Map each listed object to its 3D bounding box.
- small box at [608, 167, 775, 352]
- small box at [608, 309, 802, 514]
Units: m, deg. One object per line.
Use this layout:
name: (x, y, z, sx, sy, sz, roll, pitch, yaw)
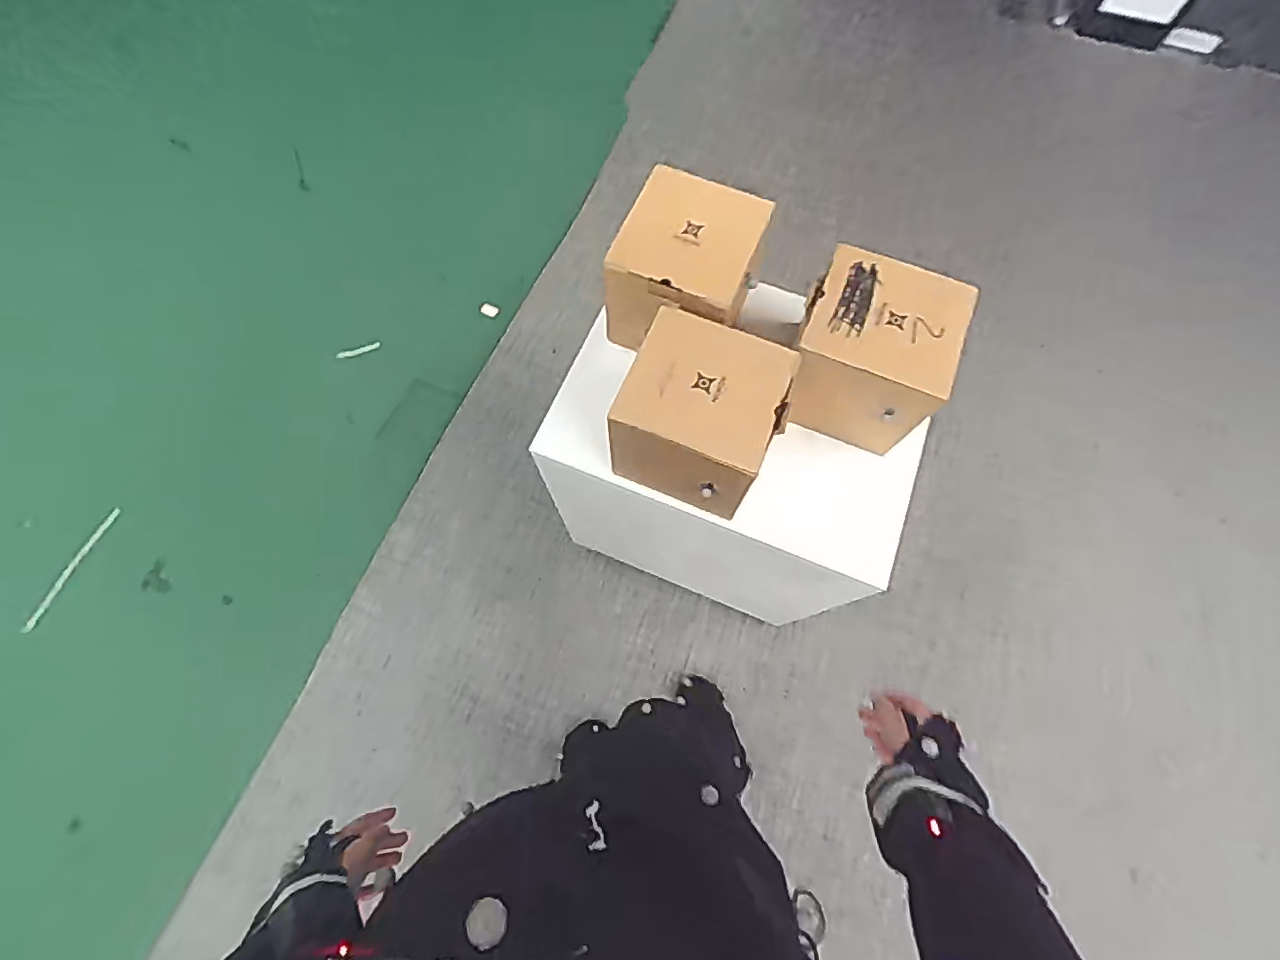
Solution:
small box: (0.064, -0.278, 0.747, 0.168, 0.176, 0.179, 22, 72, 6)
small box: (0.074, -0.074, 0.673, 0.179, 0.176, 0.168, 21, 69, 8)
